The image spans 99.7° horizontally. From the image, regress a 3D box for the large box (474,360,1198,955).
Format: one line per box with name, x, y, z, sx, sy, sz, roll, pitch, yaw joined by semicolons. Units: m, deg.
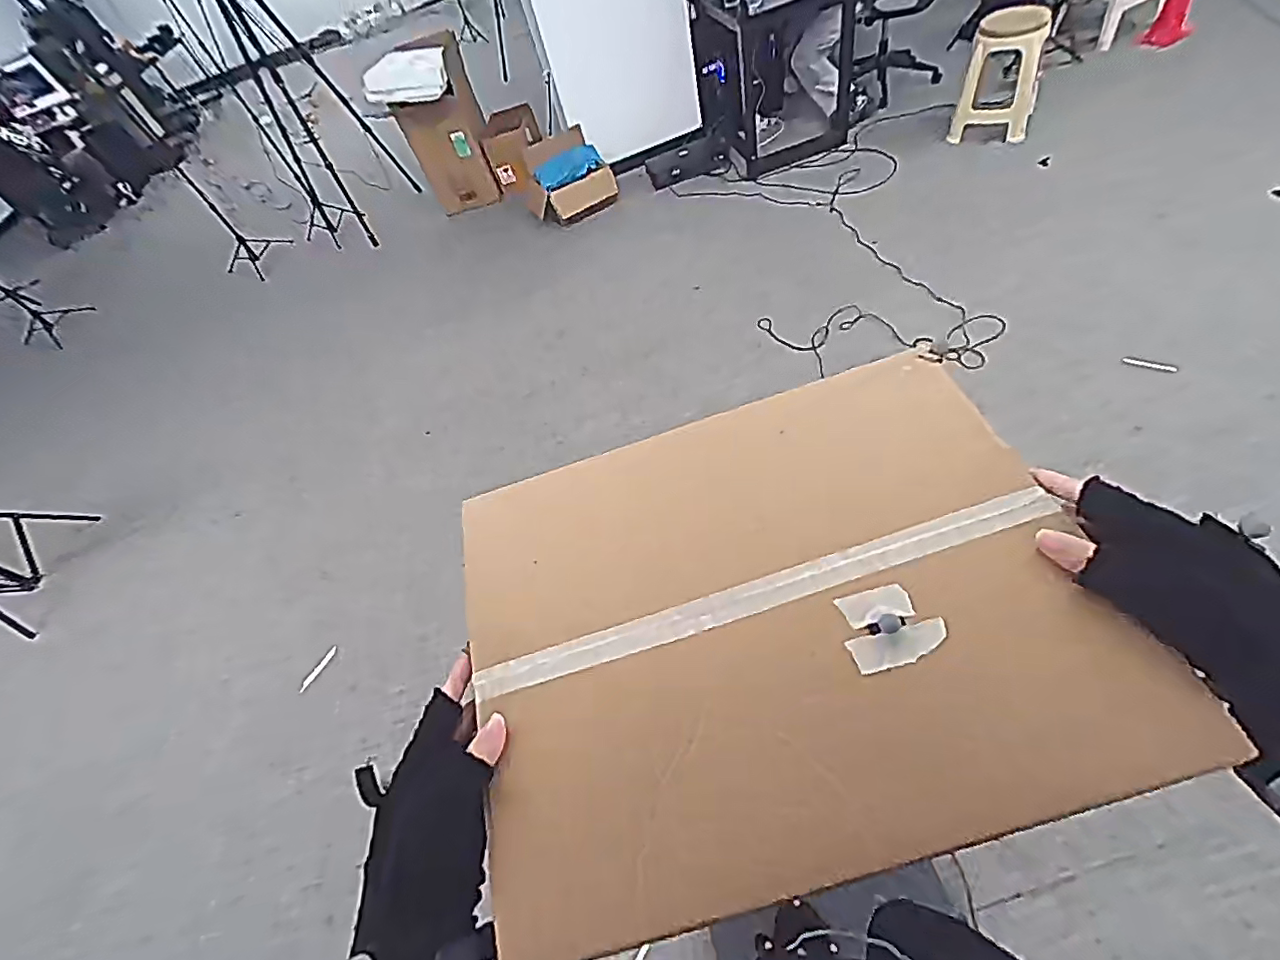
large box;0.109;0.159;0.503;0.408;0.320;0.320;-19;57;1
